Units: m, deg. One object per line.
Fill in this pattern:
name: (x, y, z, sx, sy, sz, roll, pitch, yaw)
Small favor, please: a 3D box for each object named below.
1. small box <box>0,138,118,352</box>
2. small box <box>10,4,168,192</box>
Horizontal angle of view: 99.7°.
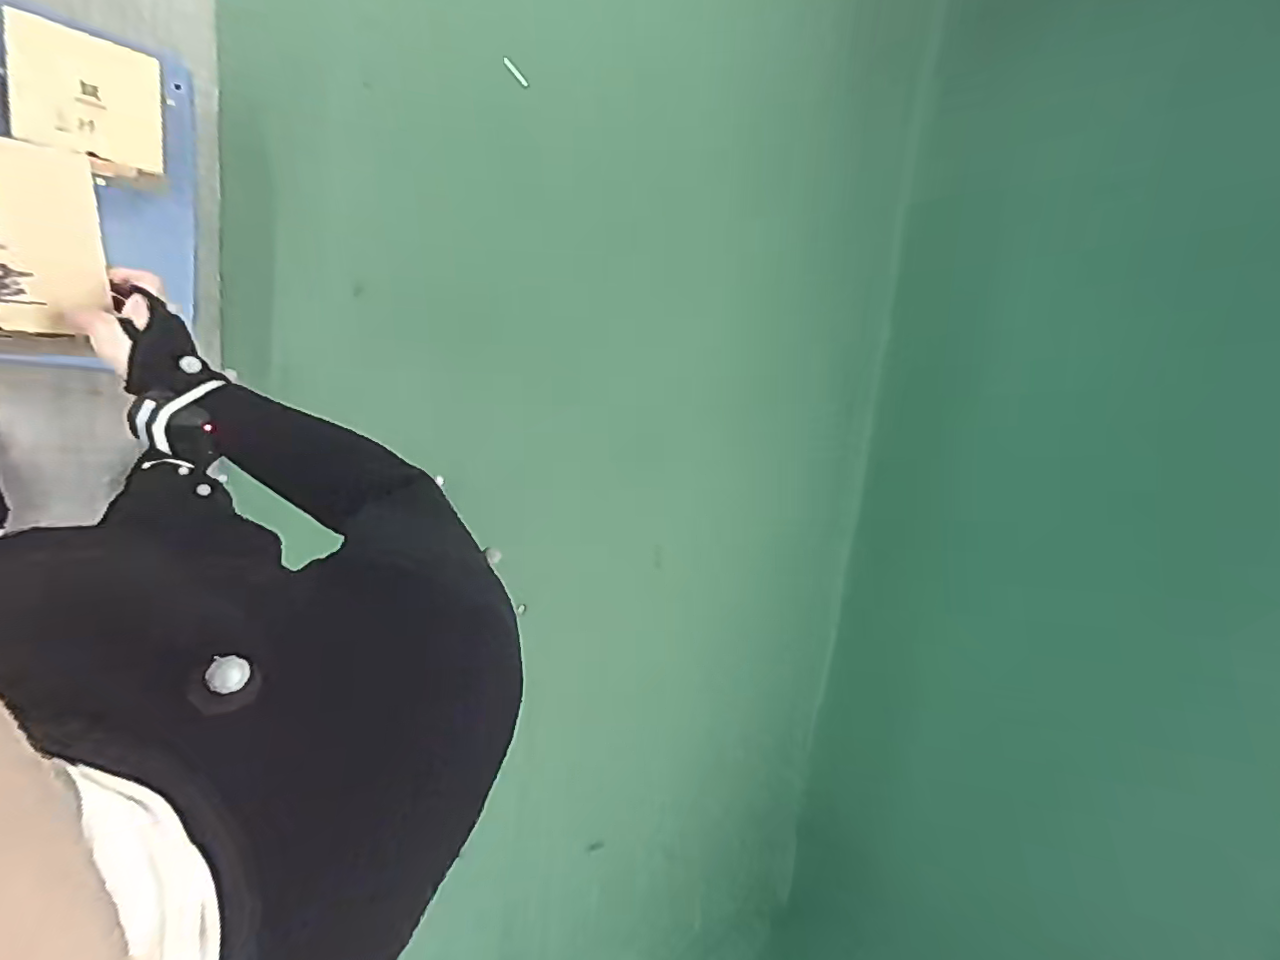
small box: (-0.646, -0.226, 0.540, 0.168, 0.176, 0.179, -10, 100, -45)
small box: (-0.886, -0.602, 0.884, 0.168, 0.176, 0.179, -2, 102, -40)
